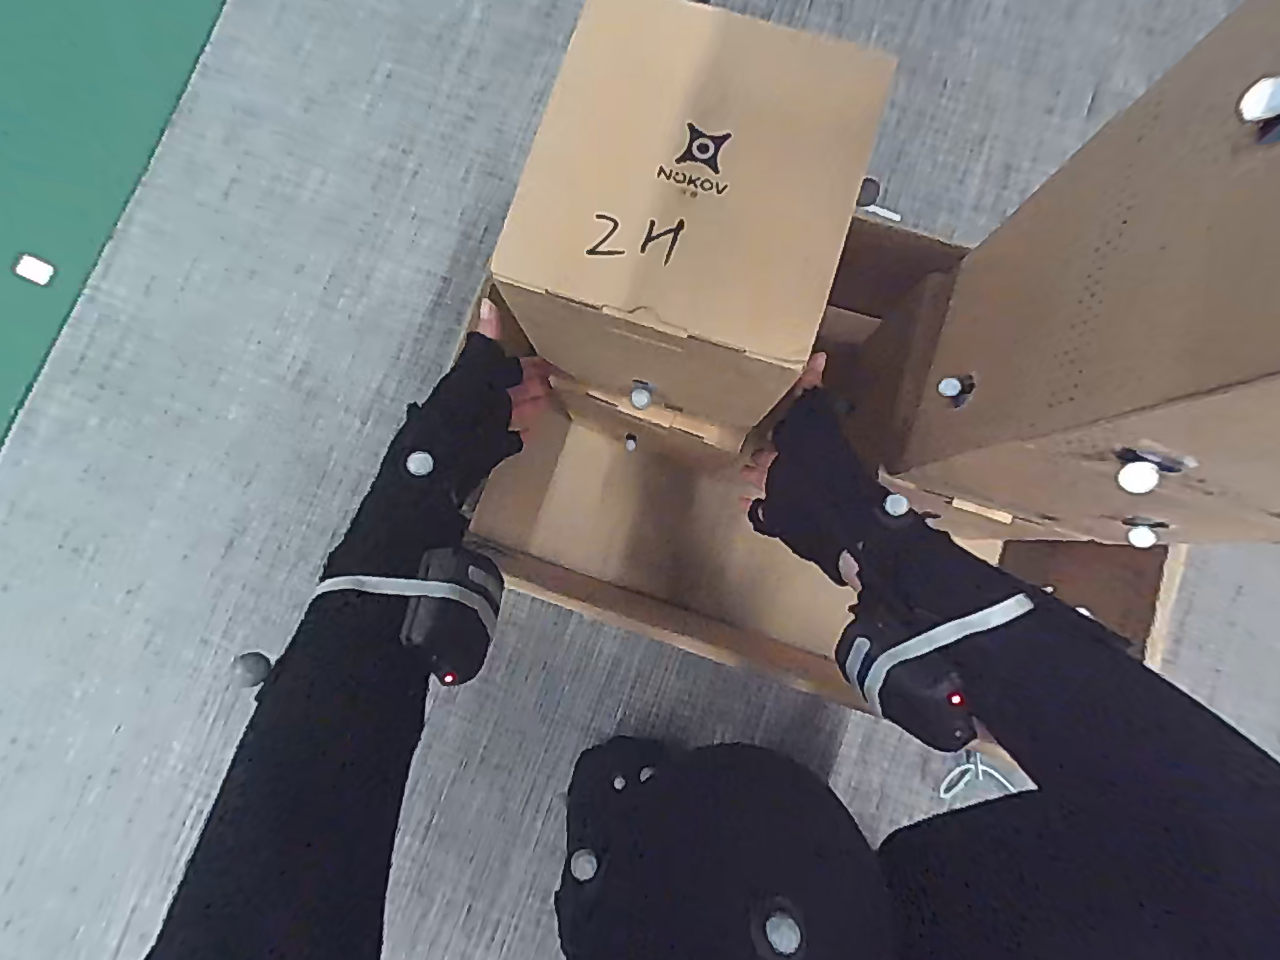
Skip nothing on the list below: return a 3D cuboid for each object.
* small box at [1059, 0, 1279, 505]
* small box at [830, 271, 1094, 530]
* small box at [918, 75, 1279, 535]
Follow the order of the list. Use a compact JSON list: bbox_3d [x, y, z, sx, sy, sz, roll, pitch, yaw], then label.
[{"bbox_3d":[0.280,-0.080,0.167,0.168,0.176,0.179,19,86,4],"label":"small box"},{"bbox_3d":[0.288,-0.057,0.495,0.168,0.176,0.179,14,85,5],"label":"small box"},{"bbox_3d":[0.292,-0.072,0.314,0.168,0.176,0.179,18,86,5],"label":"small box"}]
